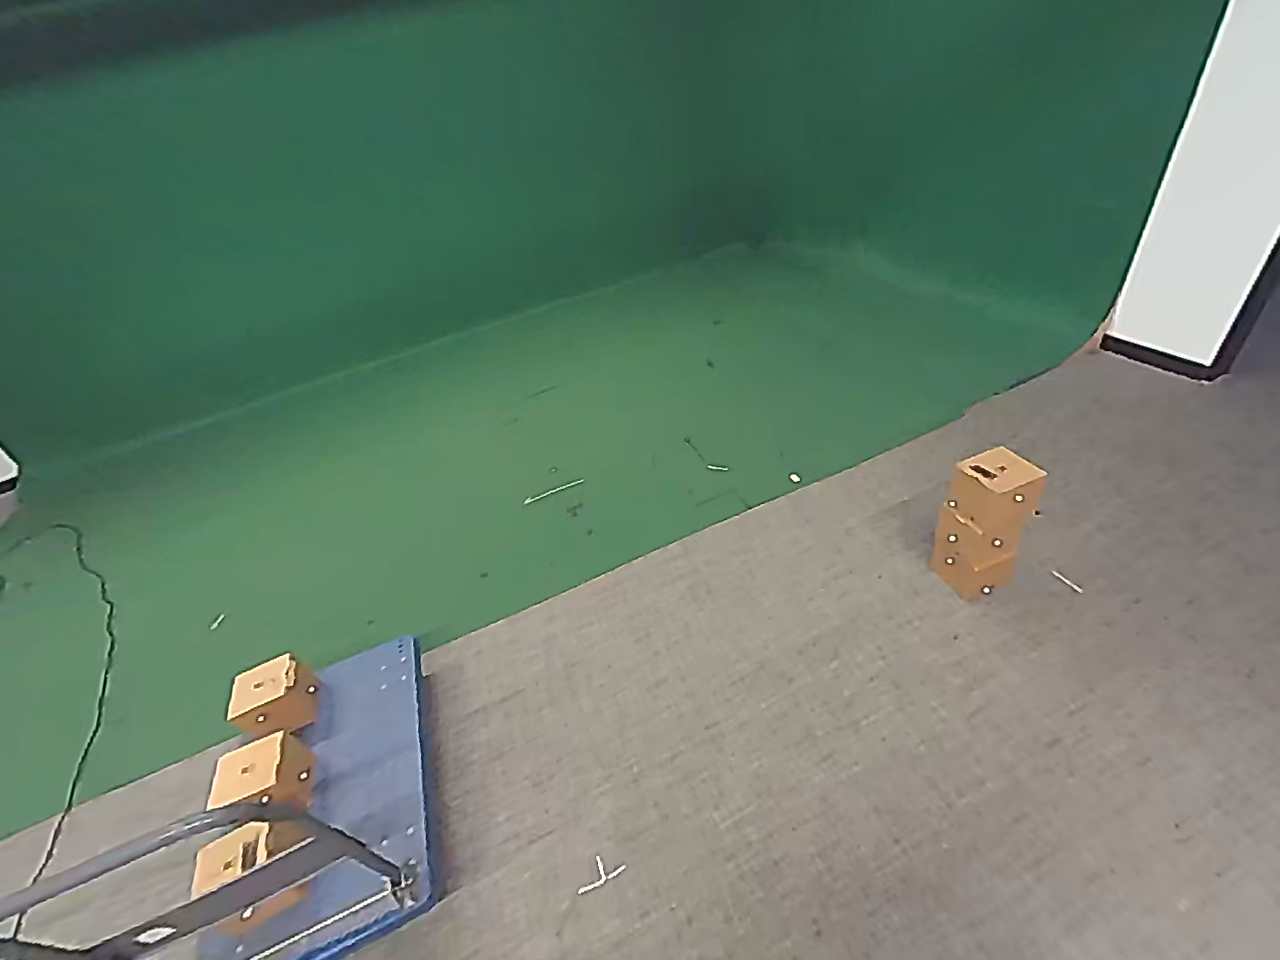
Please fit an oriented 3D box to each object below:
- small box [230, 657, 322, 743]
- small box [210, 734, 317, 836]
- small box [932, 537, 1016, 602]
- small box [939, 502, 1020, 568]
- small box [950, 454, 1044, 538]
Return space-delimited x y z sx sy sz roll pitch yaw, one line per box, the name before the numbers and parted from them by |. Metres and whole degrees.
small box | -1.160 0.712 1.736 0.179 0.176 0.168 -22 41 -11
small box | -1.052 0.864 1.527 0.179 0.176 0.168 -21 39 -11
small box | 1.146 0.287 1.870 0.168 0.176 0.179 -19 39 -6
small box | 1.109 0.162 1.772 0.179 0.176 0.168 -20 39 -6
small box | 1.091 0.051 1.674 0.179 0.176 0.168 -20 39 -8
